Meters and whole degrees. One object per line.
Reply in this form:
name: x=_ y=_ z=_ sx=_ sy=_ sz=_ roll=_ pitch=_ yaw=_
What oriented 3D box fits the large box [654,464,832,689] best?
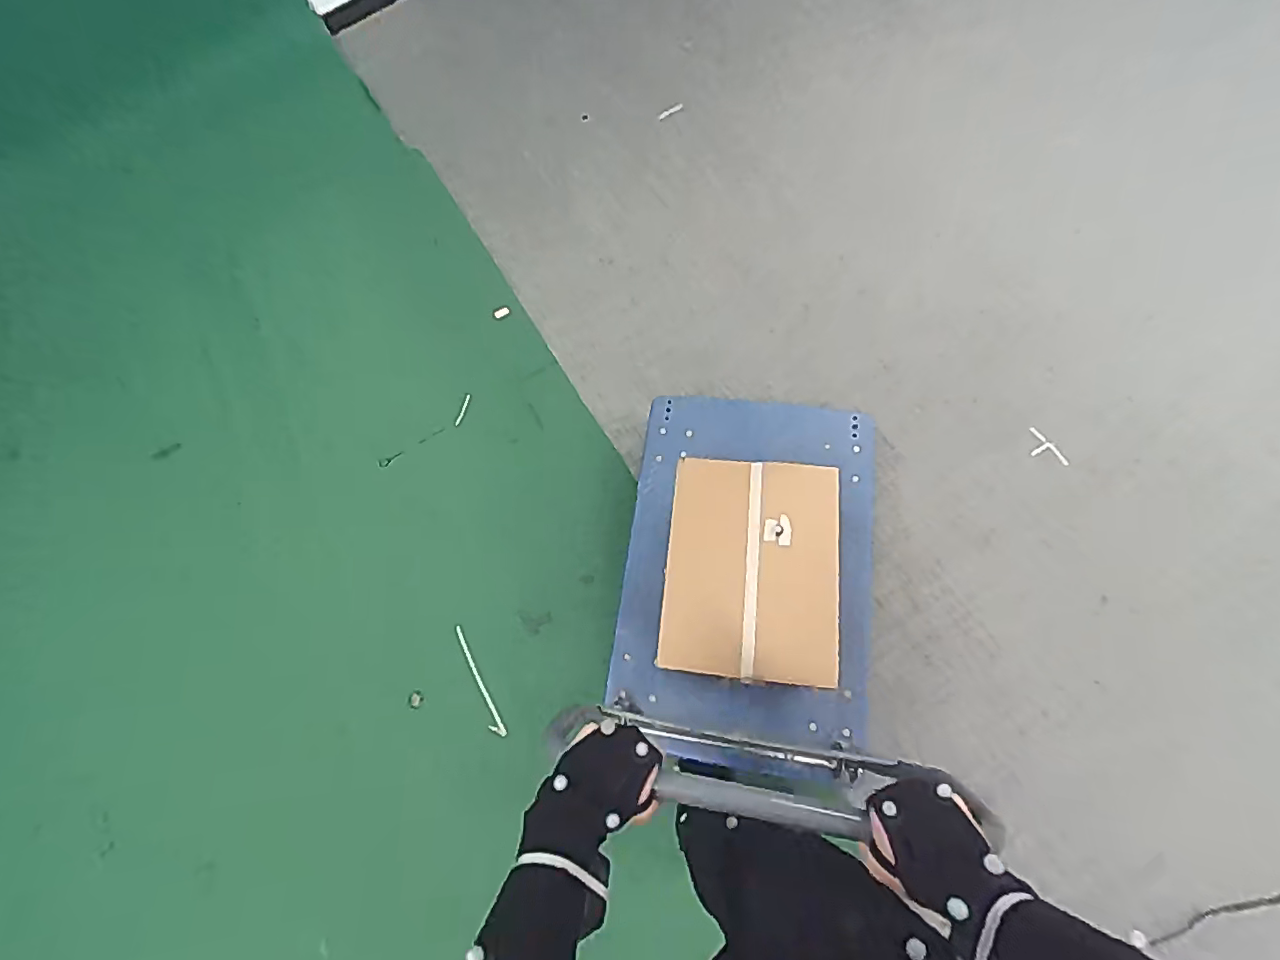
large box: x=0.216 y=0.213 z=1.146 sx=0.320 sy=0.320 sz=0.408 roll=5 pitch=71 yaw=8
